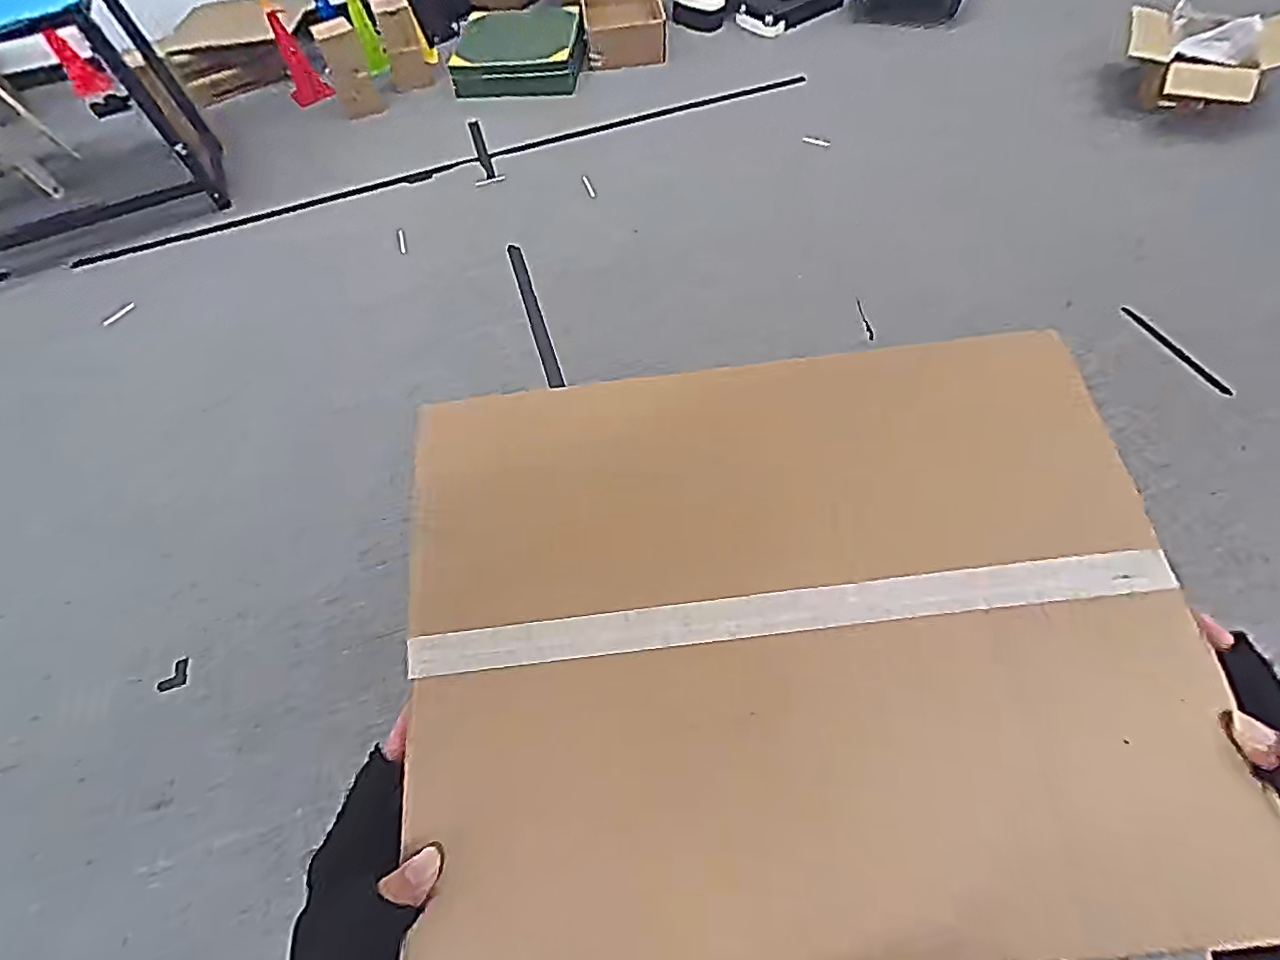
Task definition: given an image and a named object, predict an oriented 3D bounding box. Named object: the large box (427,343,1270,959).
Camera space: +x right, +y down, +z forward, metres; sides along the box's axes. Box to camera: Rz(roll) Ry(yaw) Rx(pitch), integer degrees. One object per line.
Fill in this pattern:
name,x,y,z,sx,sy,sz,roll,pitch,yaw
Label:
large box,0.084,0.132,0.442,0.408,0.320,0.320,-8,69,1
